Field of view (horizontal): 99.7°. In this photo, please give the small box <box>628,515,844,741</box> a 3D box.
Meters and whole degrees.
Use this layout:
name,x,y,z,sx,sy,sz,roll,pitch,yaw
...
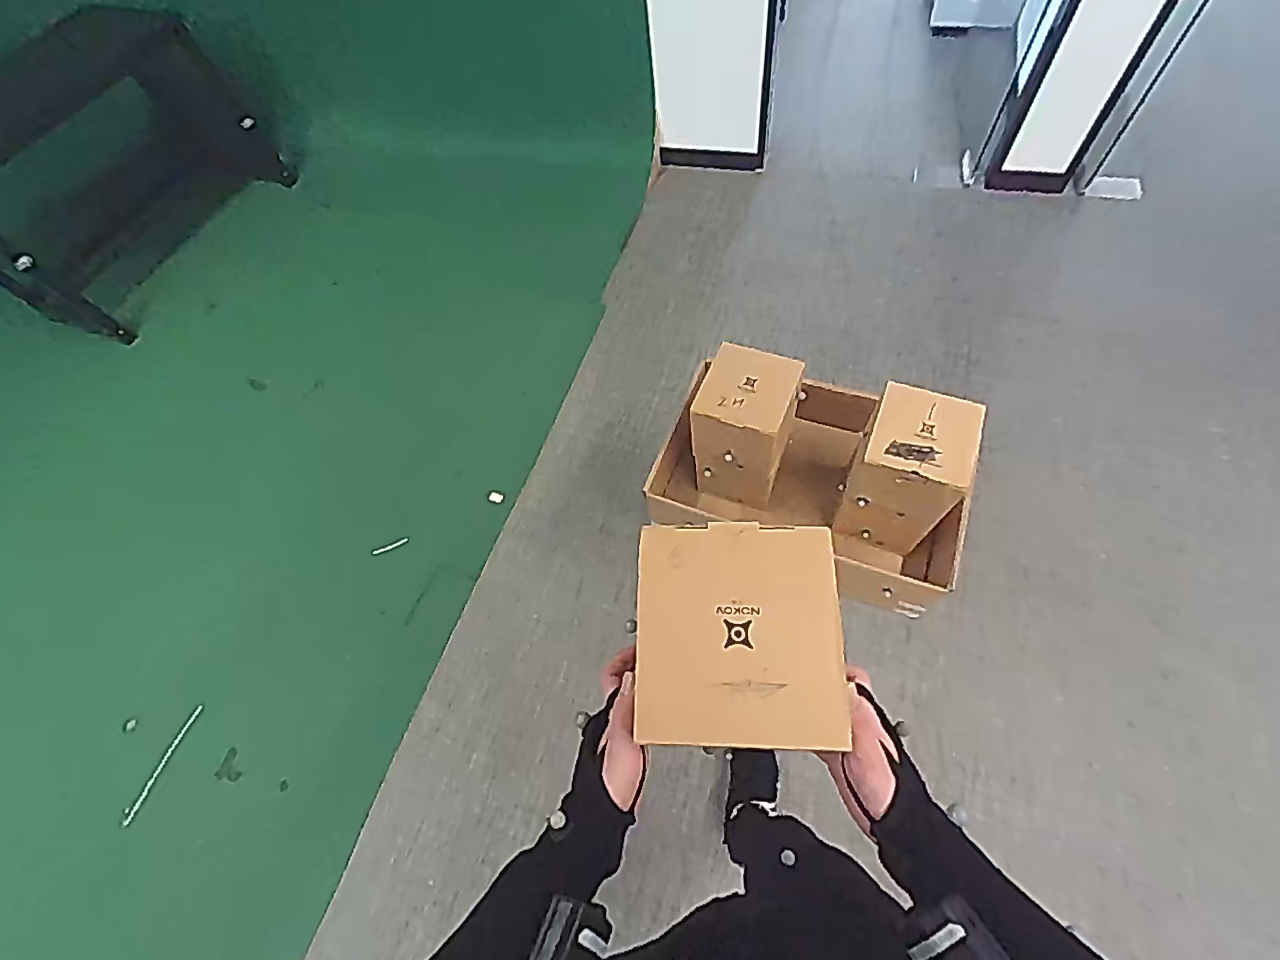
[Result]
name,x,y,z,sx,sy,sz,roll,pitch,yaw
small box,0.081,0.141,0.512,0.168,0.176,0.179,0,69,5

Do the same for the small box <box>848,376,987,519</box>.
name,x,y,z,sx,sy,sz,roll,pitch,yaw
small box,0.489,-0.053,0.975,0.168,0.176,0.179,19,67,16

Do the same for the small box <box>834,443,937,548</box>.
name,x,y,z,sx,sy,sz,roll,pitch,yaw
small box,0.515,0.016,1.123,0.168,0.176,0.179,17,68,16

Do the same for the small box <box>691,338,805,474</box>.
name,x,y,z,sx,sy,sz,roll,pitch,yaw
small box,0.209,-0.141,1.062,0.168,0.176,0.179,19,67,18
